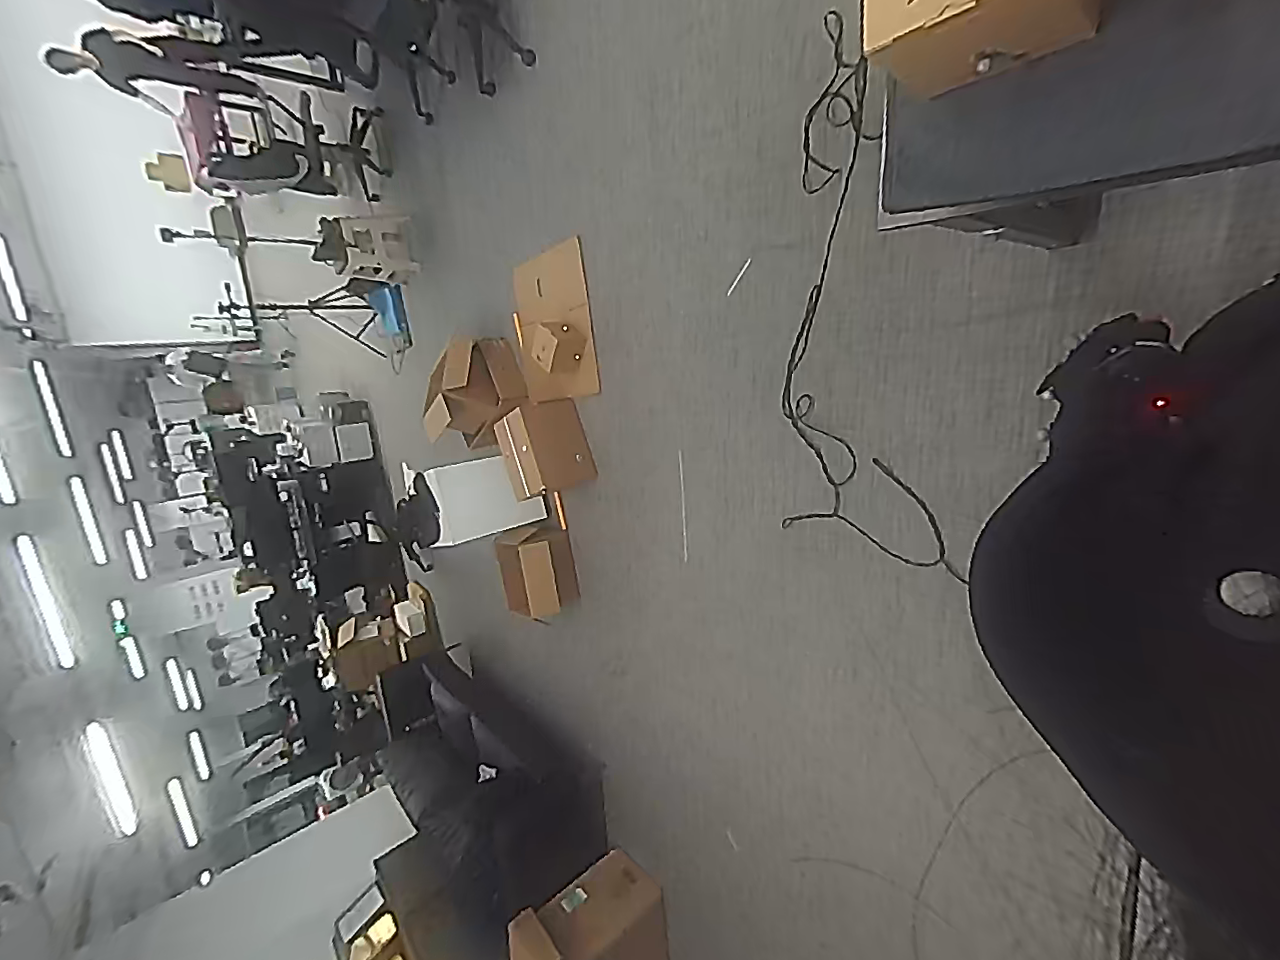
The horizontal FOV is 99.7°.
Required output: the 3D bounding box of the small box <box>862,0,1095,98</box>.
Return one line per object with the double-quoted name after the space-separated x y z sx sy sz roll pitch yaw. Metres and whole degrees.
0.340 -0.526 0.536 0.168 0.176 0.179 10 108 47 "small box"
